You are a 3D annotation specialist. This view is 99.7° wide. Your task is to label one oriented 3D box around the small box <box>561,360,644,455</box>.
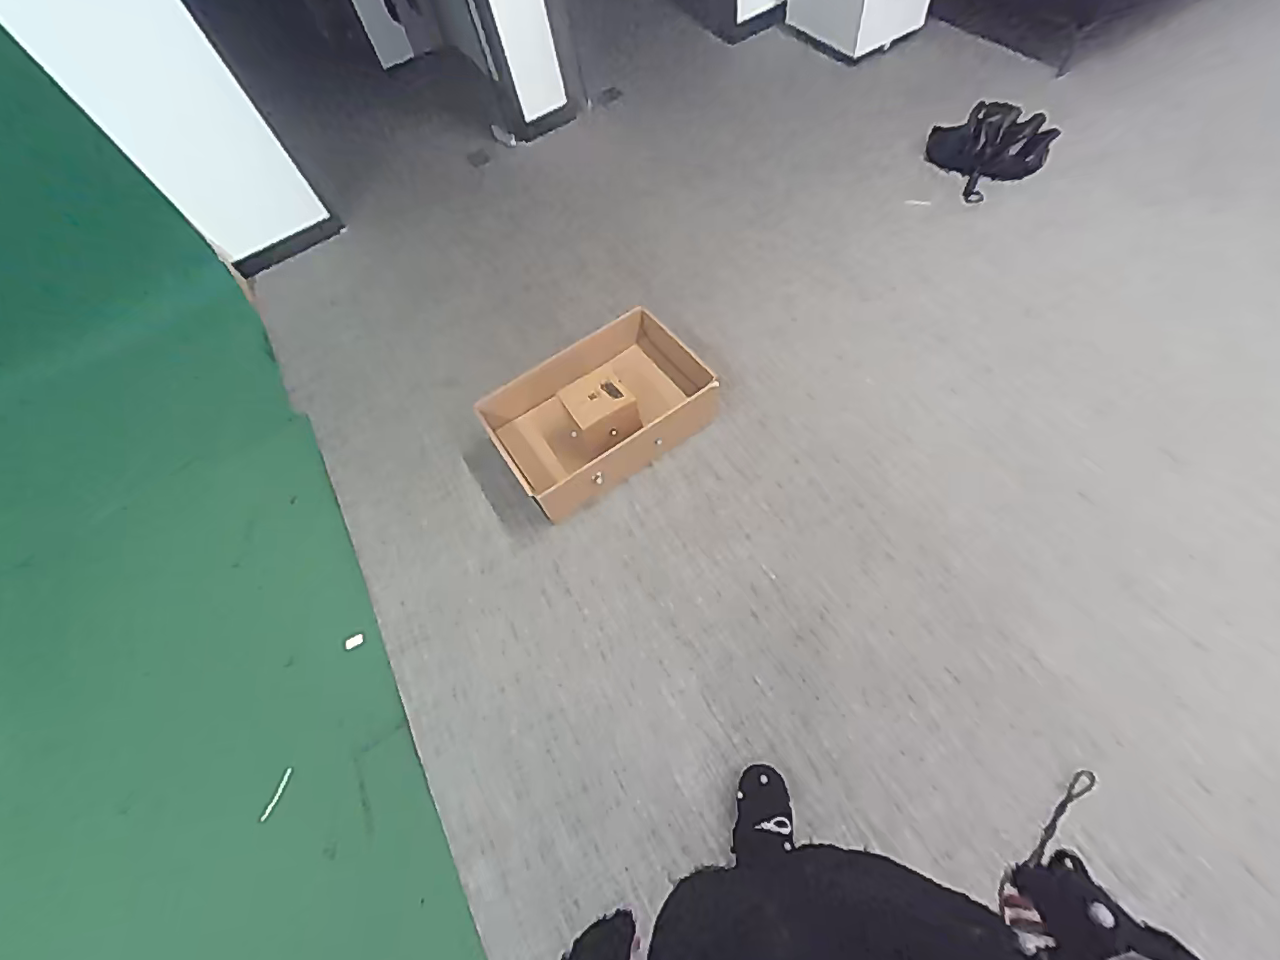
[{"bbox_3d":[-0.102,-0.207,1.577,0.179,0.176,0.168,-34,61,-10],"label":"small box"}]
